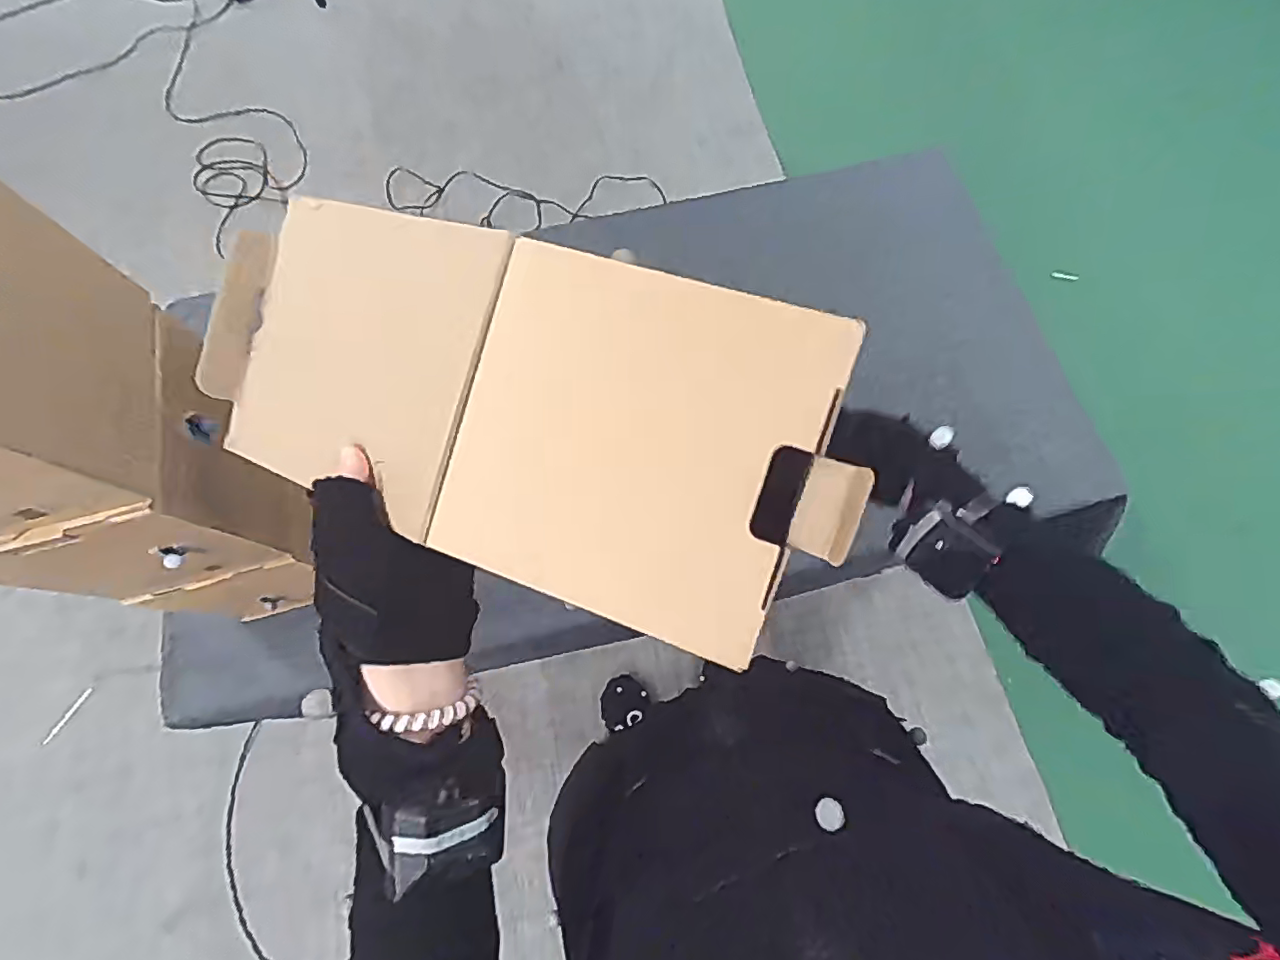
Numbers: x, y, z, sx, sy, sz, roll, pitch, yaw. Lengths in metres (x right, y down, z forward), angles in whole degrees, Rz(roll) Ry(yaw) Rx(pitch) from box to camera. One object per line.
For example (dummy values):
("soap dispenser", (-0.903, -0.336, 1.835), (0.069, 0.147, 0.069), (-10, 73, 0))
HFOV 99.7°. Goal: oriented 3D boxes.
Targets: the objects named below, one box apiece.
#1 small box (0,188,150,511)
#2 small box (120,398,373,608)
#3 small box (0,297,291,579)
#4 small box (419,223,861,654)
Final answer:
("small box", (-0.432, -0.078, 0.309), (0.168, 0.176, 0.179), (-15, 72, -6))
("small box", (-0.429, 0.035, 0.616), (0.168, 0.176, 0.179), (-14, 72, -4))
("small box", (-0.430, -0.020, 0.462), (0.168, 0.176, 0.179), (-13, 72, -5))
("small box", (0.009, -0.024, 0.331), (0.179, 0.176, 0.168), (19, 95, 13))
